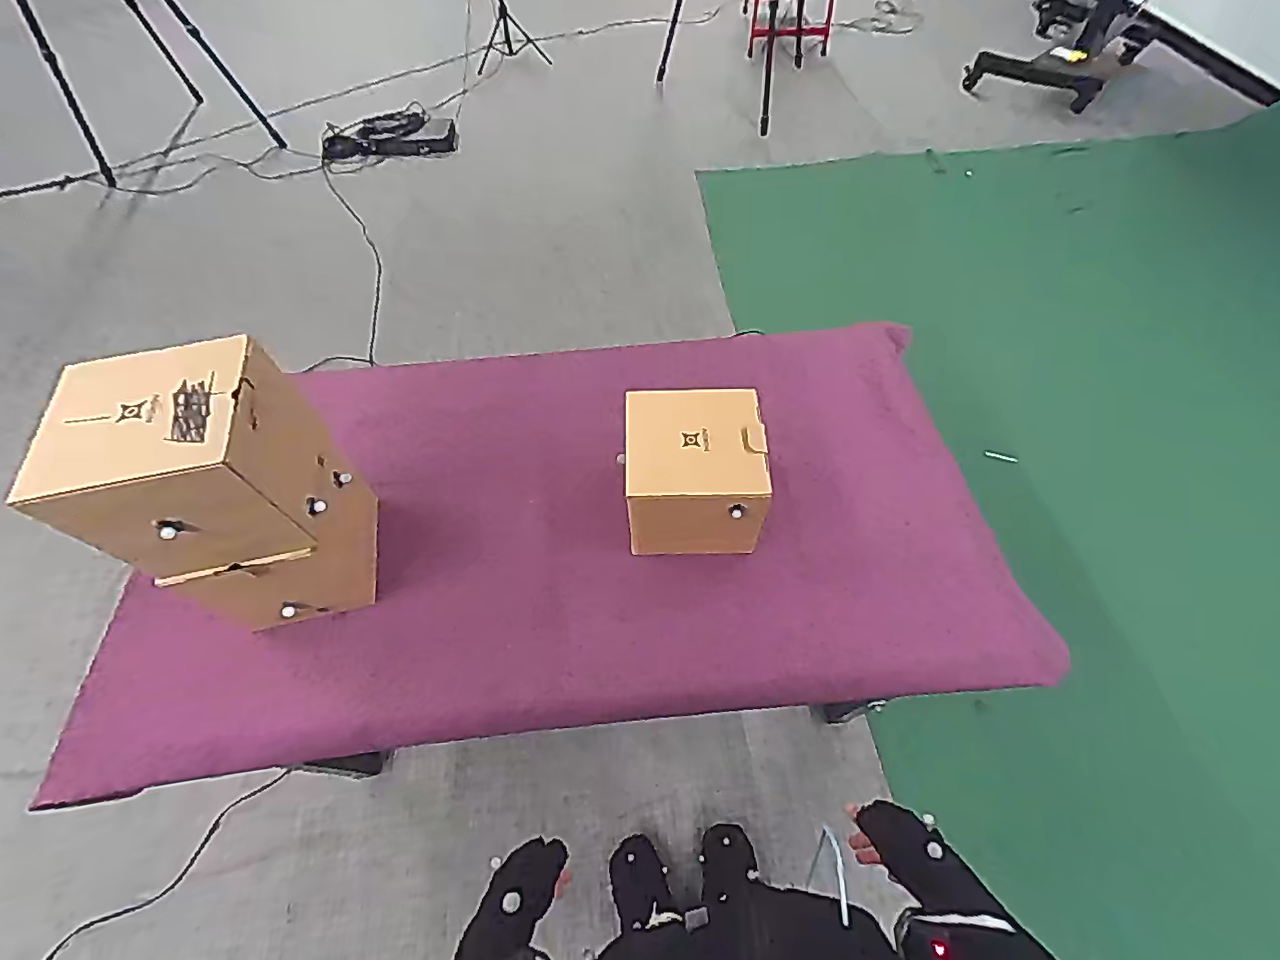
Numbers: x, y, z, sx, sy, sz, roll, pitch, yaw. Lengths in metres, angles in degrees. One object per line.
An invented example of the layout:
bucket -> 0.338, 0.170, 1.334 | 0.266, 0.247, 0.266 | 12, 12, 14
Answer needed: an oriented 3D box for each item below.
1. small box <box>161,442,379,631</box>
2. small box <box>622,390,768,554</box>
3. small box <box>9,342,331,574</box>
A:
small box -> -0.461, 0.076, 0.710 | 0.168, 0.176, 0.179 | -12, 58, -5
small box -> 0.068, -0.005, 0.745 | 0.179, 0.176, 0.168 | -1, 58, 1
small box -> -0.460, -0.018, 0.572 | 0.179, 0.176, 0.168 | -10, 56, -5
